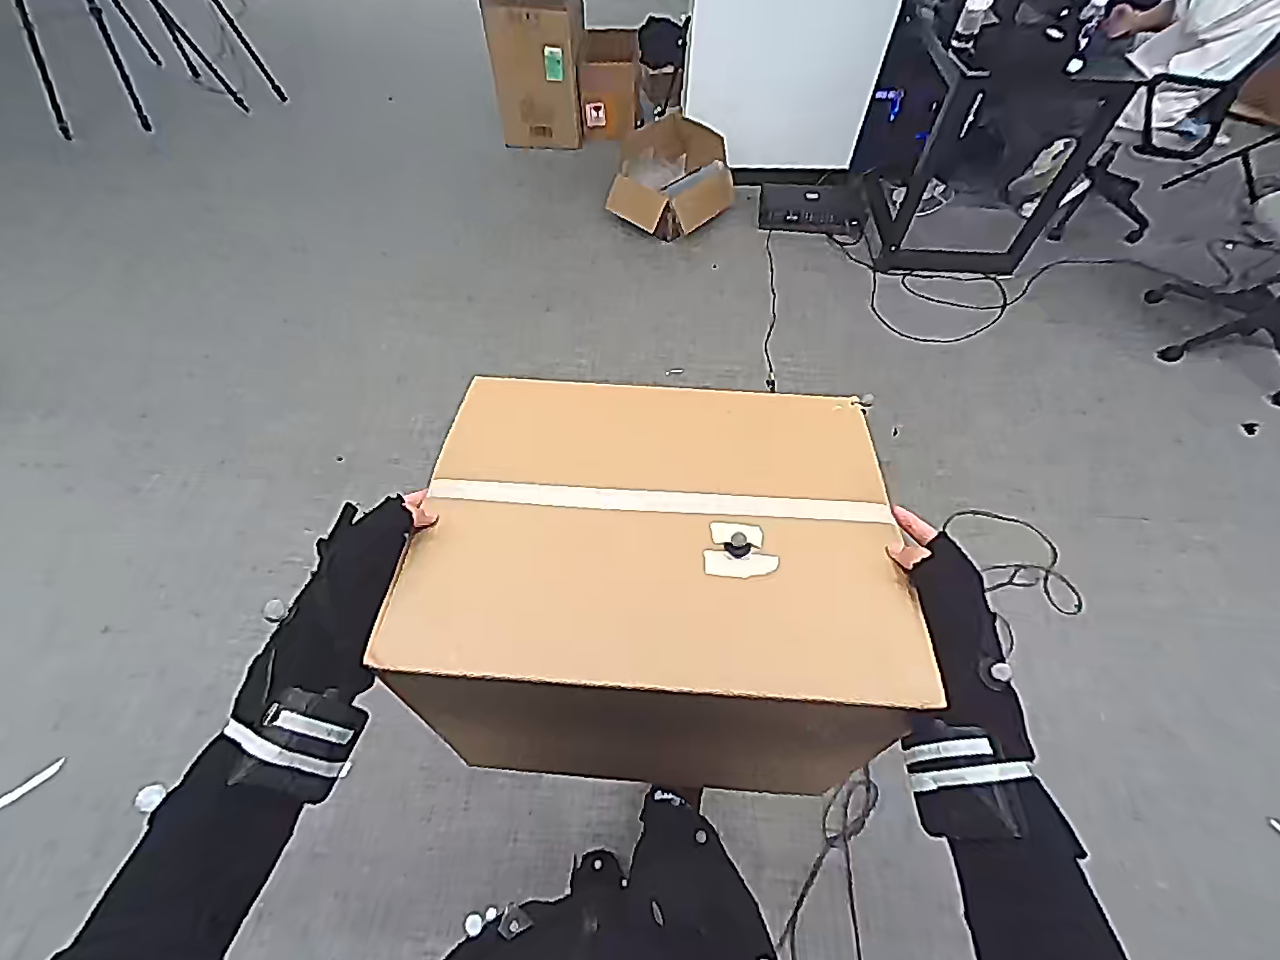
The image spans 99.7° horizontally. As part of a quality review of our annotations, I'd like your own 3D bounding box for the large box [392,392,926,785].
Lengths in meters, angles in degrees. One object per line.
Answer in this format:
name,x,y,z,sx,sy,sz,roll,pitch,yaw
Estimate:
large box,0.016,0.126,0.603,0.408,0.320,0.320,4,50,2
